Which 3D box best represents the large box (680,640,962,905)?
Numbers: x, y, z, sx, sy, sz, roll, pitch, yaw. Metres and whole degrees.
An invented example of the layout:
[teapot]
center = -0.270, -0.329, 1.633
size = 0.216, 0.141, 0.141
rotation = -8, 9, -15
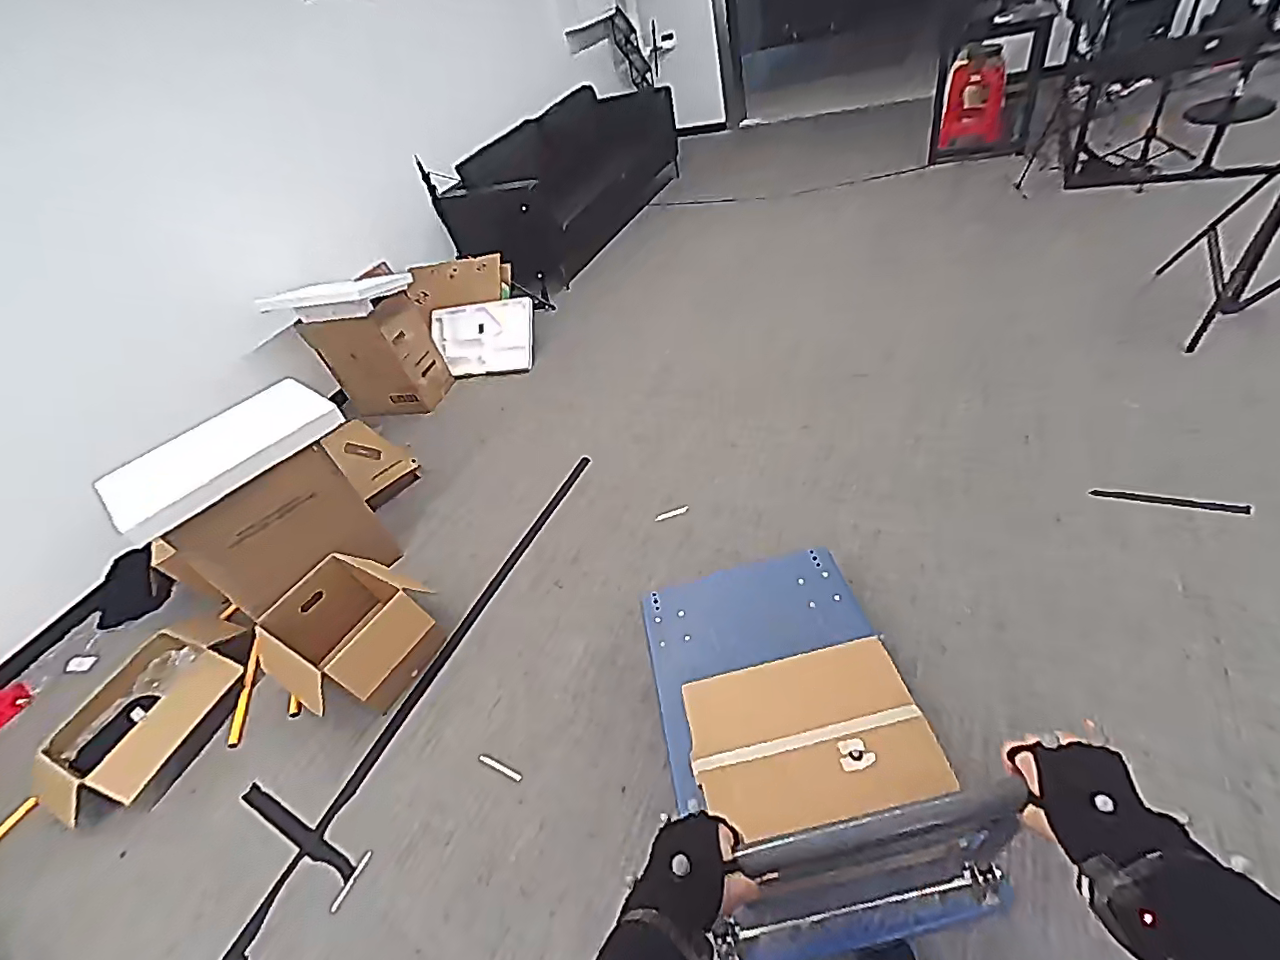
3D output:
[large box]
center = 0.322, 0.571, 1.056
size = 0.408, 0.320, 0.320
rotation = -15, 43, 2
